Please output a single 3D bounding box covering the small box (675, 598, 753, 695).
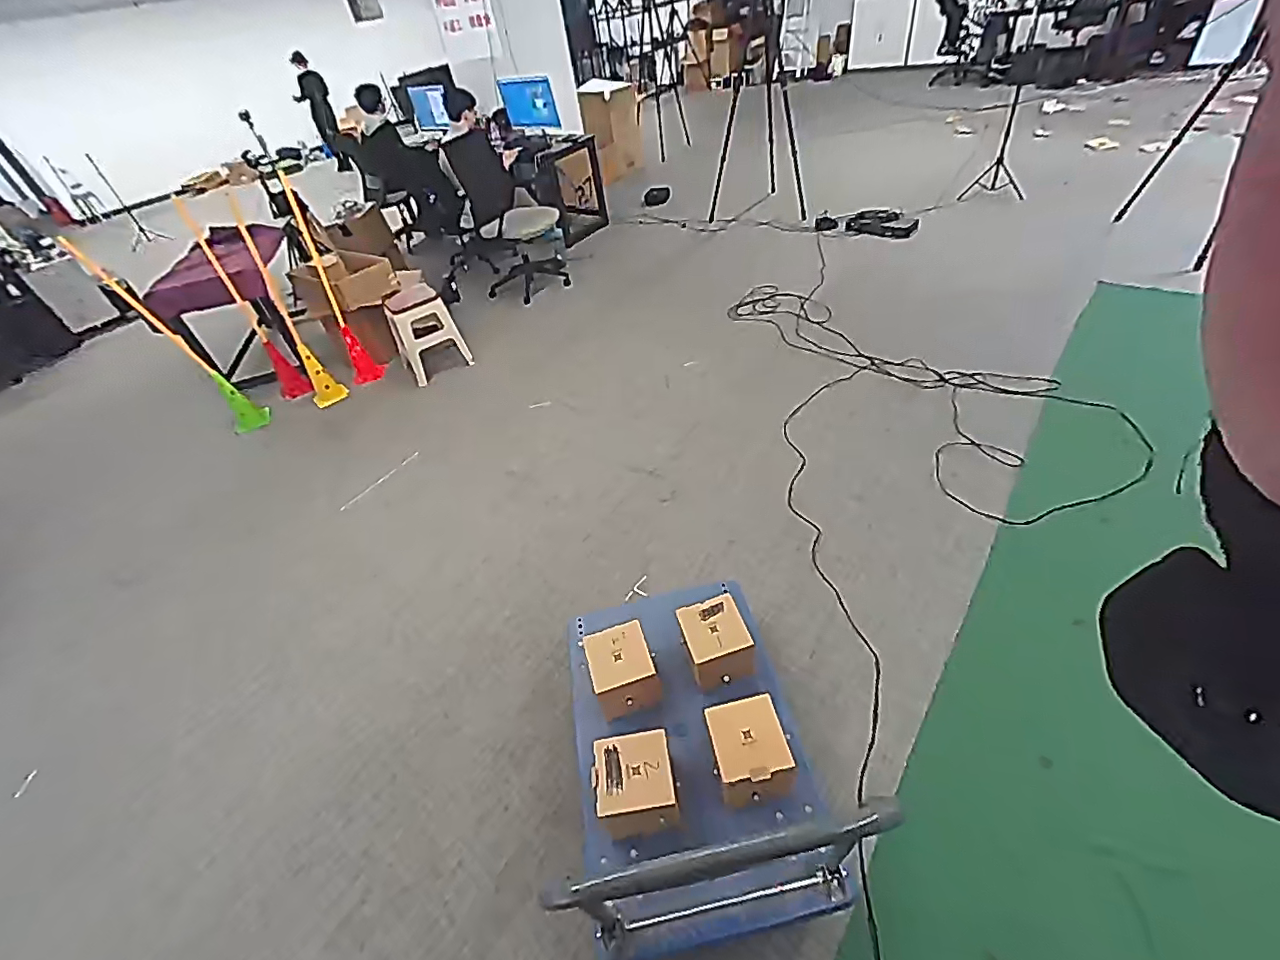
[{"bbox_3d":[0.205,0.466,1.515,0.168,0.176,0.179,-16,43,-6],"label":"small box"}]

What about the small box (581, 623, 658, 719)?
[{"bbox_3d":[-0.055,0.534,1.493,0.168,0.176,0.179,-15,42,-7],"label":"small box"}]

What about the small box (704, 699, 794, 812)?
[{"bbox_3d":[0.254,0.661,1.297,0.168,0.176,0.179,-12,43,-3],"label":"small box"}]
